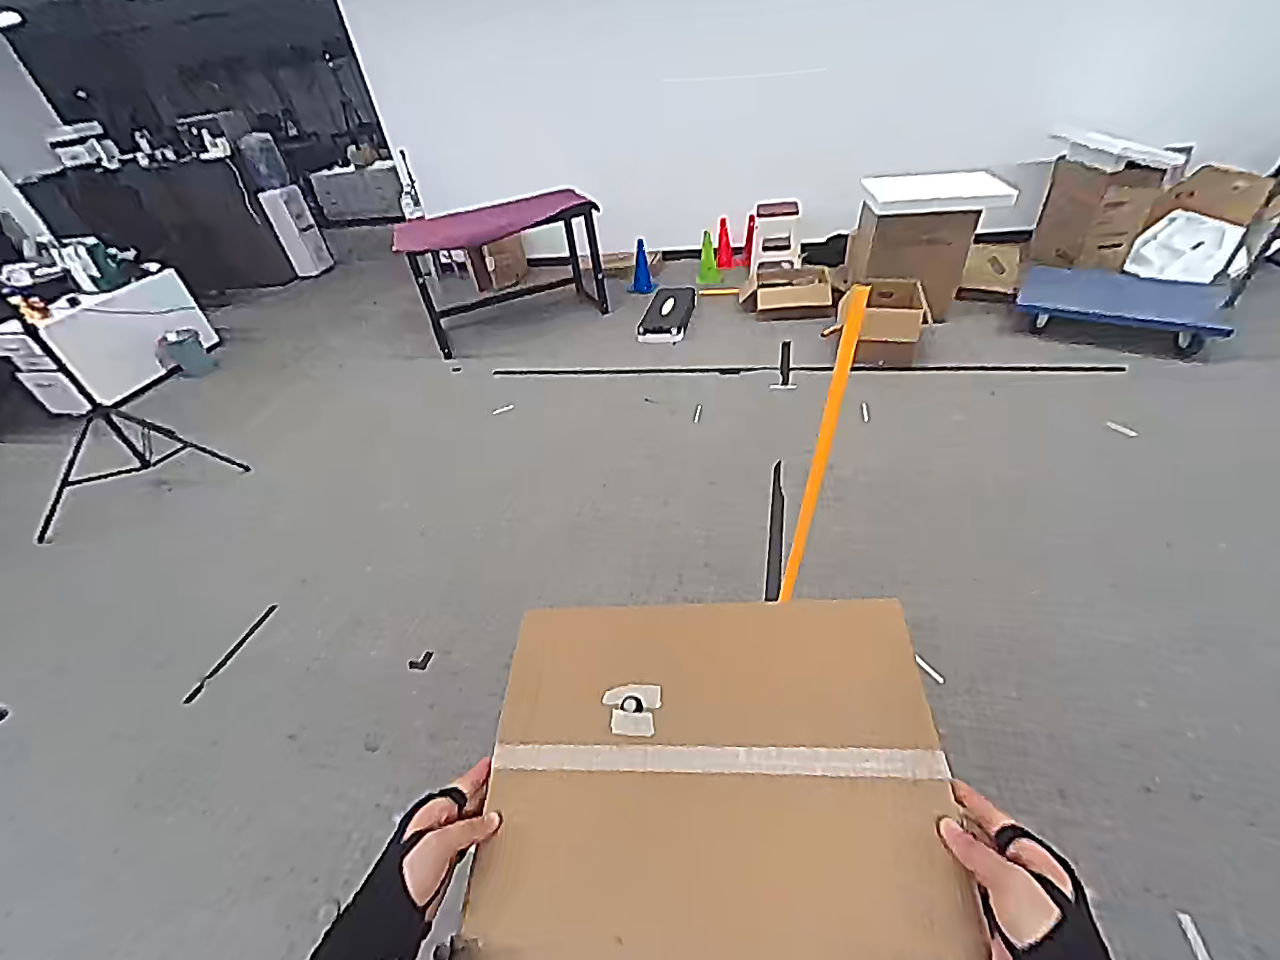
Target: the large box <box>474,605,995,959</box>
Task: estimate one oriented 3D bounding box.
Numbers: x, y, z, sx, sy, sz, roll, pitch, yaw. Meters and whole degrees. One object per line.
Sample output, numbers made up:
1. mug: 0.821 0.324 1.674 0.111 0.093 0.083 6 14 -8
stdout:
1. large box: 0.095 0.362 0.607 0.408 0.320 0.320 -6 47 11
